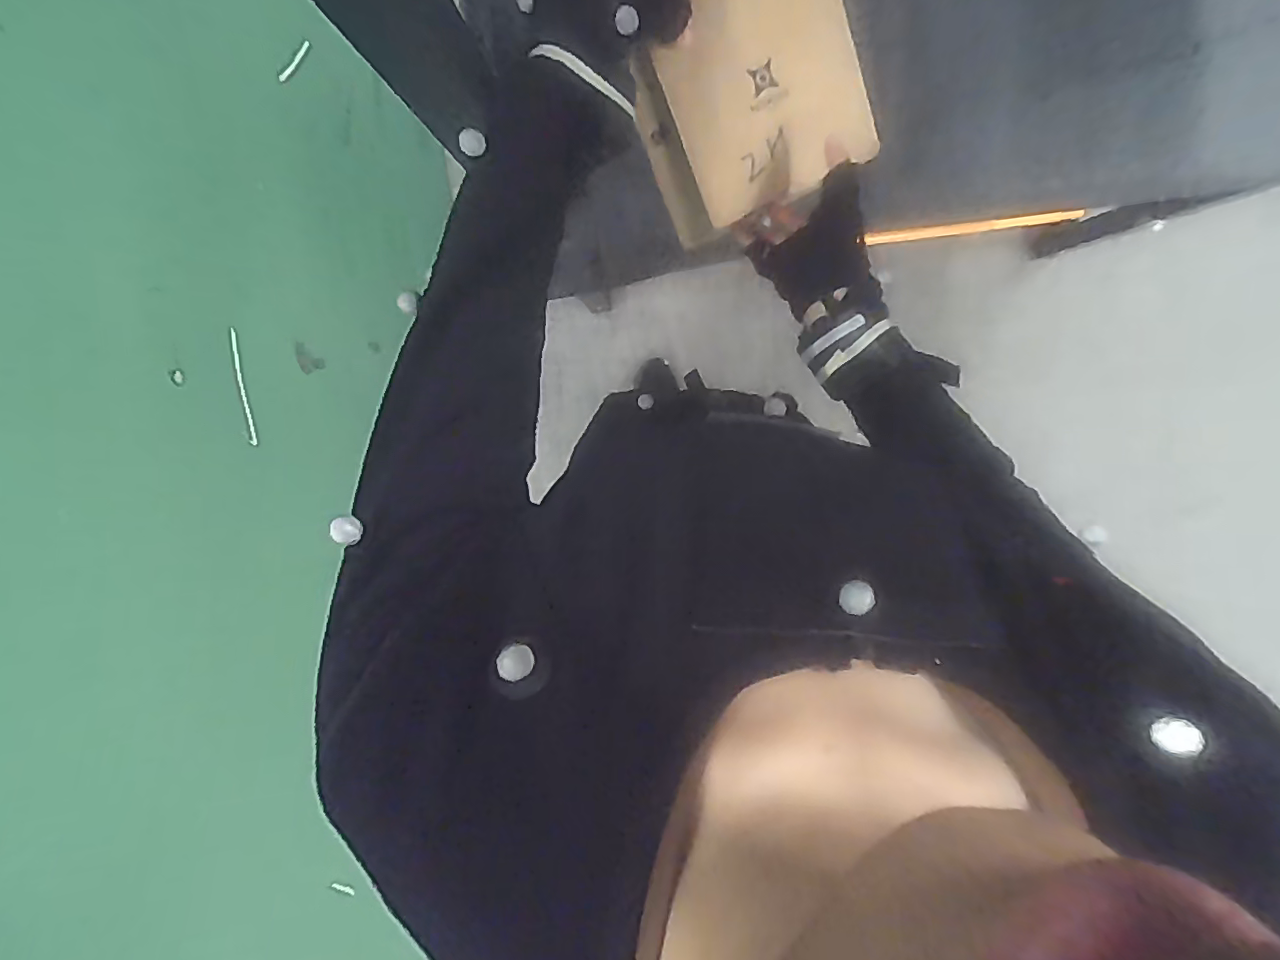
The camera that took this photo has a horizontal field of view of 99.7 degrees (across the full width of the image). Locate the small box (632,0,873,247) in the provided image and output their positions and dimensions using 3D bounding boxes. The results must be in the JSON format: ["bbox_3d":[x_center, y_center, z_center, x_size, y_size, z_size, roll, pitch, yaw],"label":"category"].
[{"bbox_3d":[0.099,-0.359,0.545,0.168,0.176,0.179,-24,108,4],"label":"small box"}]
